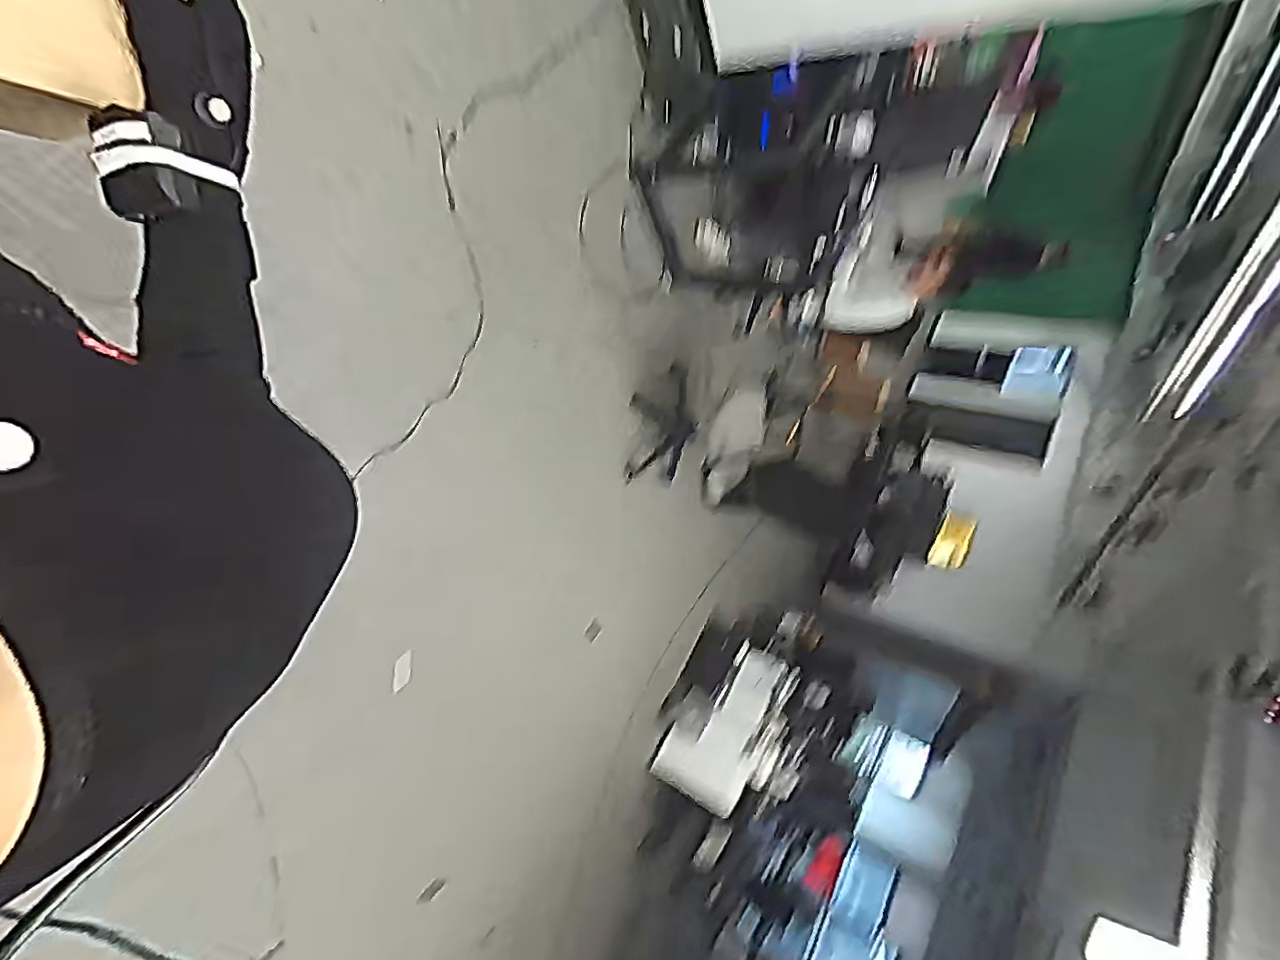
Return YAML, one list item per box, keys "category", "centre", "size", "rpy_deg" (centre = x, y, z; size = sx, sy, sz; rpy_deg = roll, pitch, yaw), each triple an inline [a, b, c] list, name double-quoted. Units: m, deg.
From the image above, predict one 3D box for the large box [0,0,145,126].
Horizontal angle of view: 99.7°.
- category: "large box"
  centre: [-0.588, -0.434, 0.281]
  size: [0.408, 0.320, 0.320]
  rpy_deg: [-16, 120, -54]
